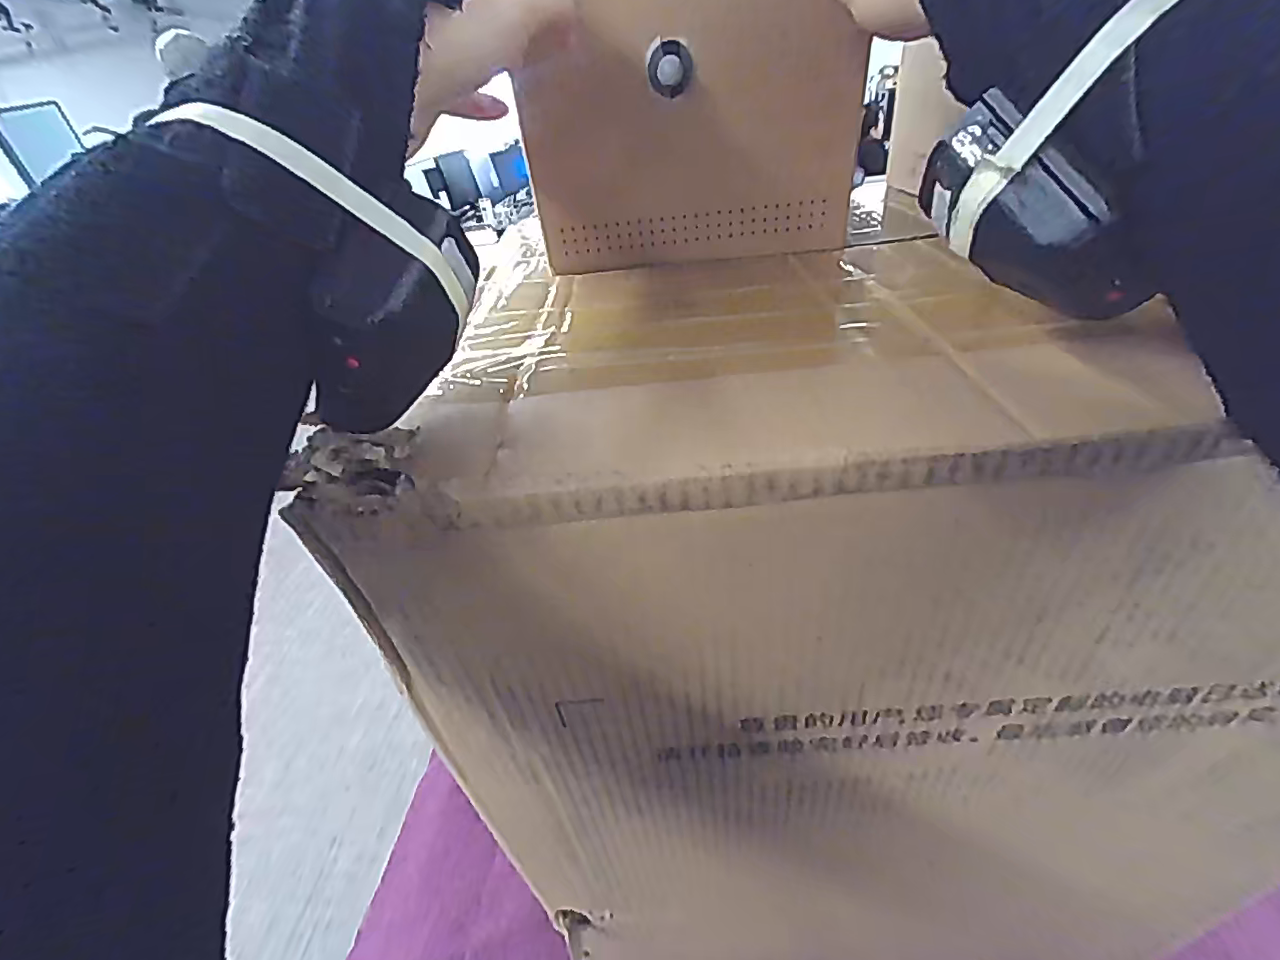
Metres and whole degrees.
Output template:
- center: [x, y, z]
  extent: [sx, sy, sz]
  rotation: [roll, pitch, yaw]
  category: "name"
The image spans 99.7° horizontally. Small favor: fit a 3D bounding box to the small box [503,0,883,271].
- center: [0.031, -0.241, 0.322]
  extent: [0.179, 0.176, 0.168]
  rotation: [-4, 40, 6]
  category: "small box"
